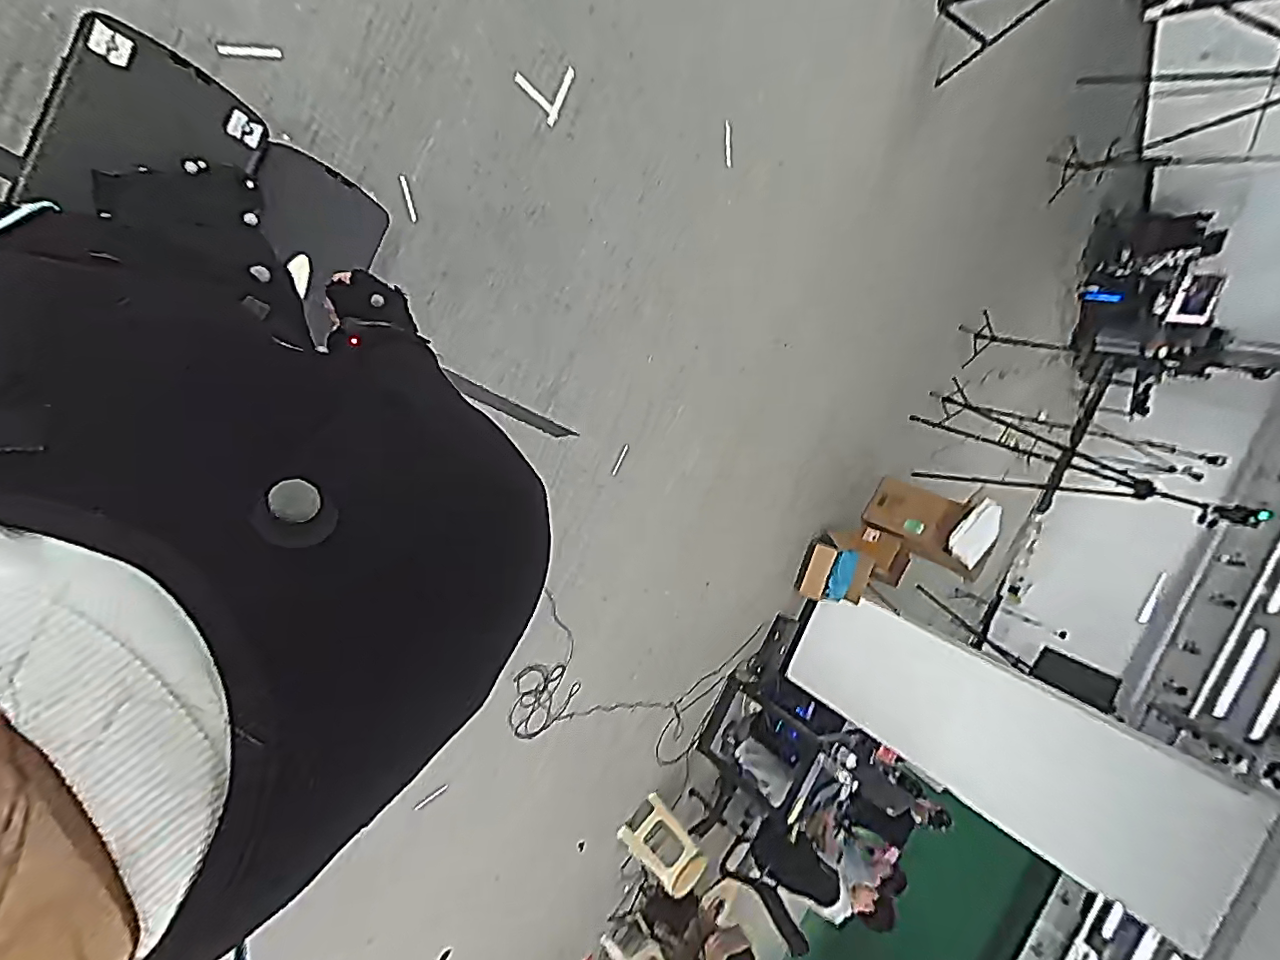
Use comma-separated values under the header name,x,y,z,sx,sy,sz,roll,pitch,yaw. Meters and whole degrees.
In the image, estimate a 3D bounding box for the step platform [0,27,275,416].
name,x,y,z,sx,sy,sz,roll,pitch,yaw
step platform,-1.004,-0.475,1.066,0.286,0.204,0.684,22,93,-49
